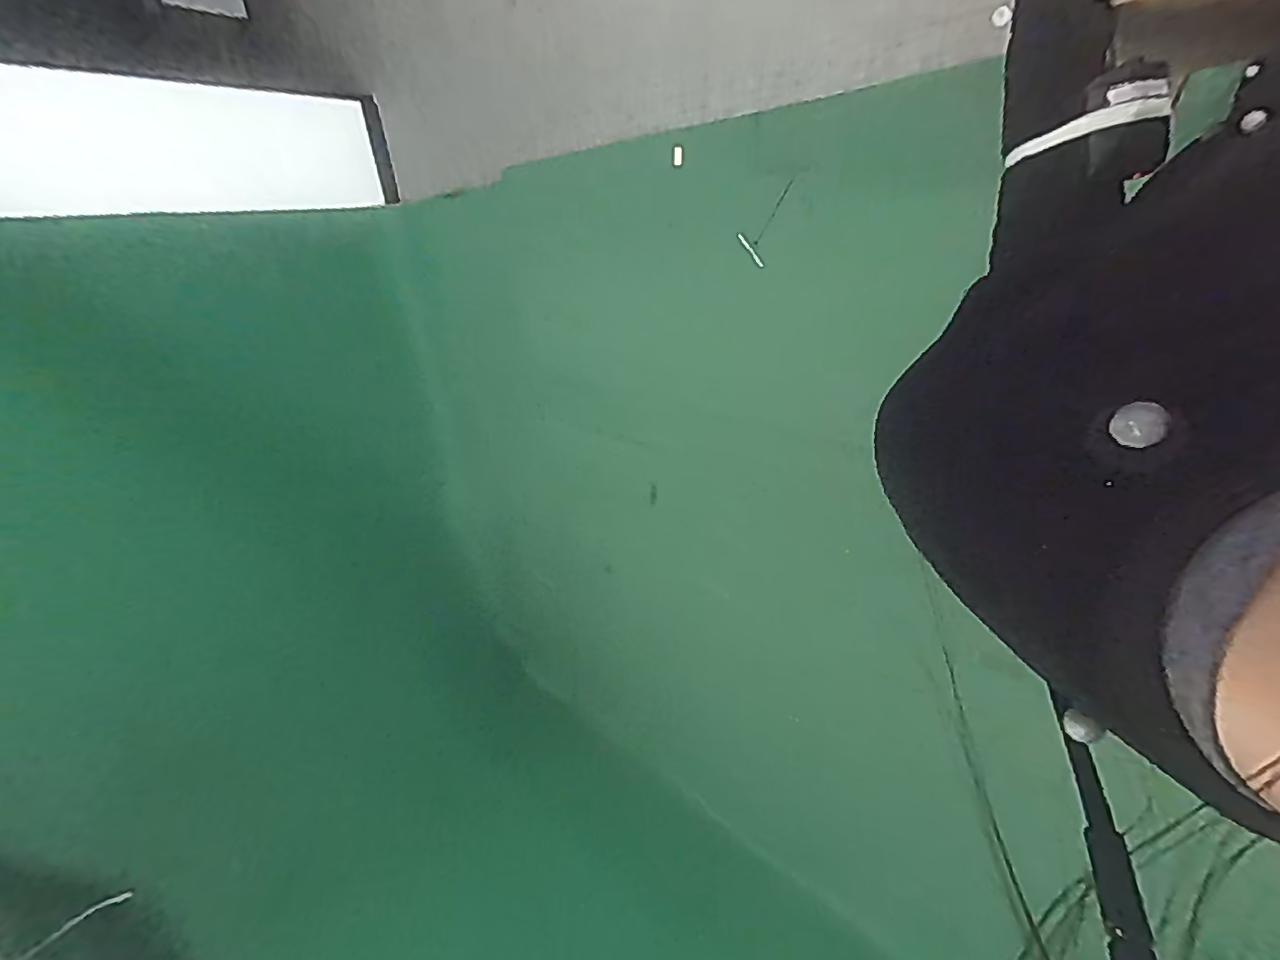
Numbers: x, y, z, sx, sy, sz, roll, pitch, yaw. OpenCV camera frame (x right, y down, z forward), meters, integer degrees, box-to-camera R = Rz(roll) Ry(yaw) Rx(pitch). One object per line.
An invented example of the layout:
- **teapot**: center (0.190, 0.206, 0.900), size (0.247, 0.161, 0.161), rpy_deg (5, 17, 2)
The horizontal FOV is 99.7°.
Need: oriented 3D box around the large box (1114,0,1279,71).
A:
- **large box**: center (0.547, -0.482, 0.286), size (0.408, 0.320, 0.320), rpy_deg (12, 117, 39)
